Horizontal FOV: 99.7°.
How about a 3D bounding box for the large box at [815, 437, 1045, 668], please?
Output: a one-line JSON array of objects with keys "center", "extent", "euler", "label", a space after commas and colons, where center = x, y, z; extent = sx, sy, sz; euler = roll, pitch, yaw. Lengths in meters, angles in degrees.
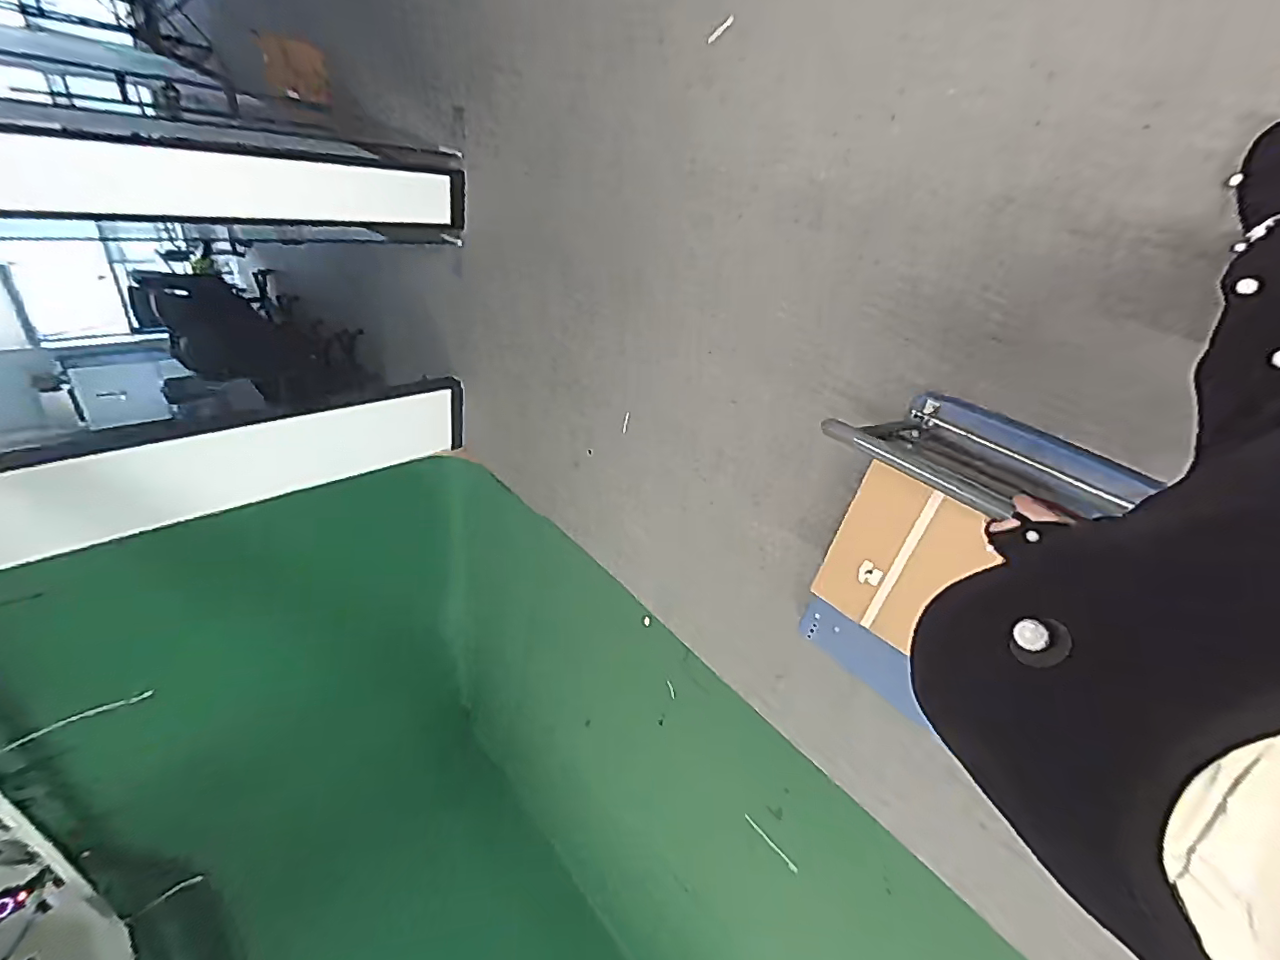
[{"center": [0.693, 0.153, 1.310], "extent": [0.320, 0.320, 0.408], "euler": [35, 124, 33], "label": "large box"}]
